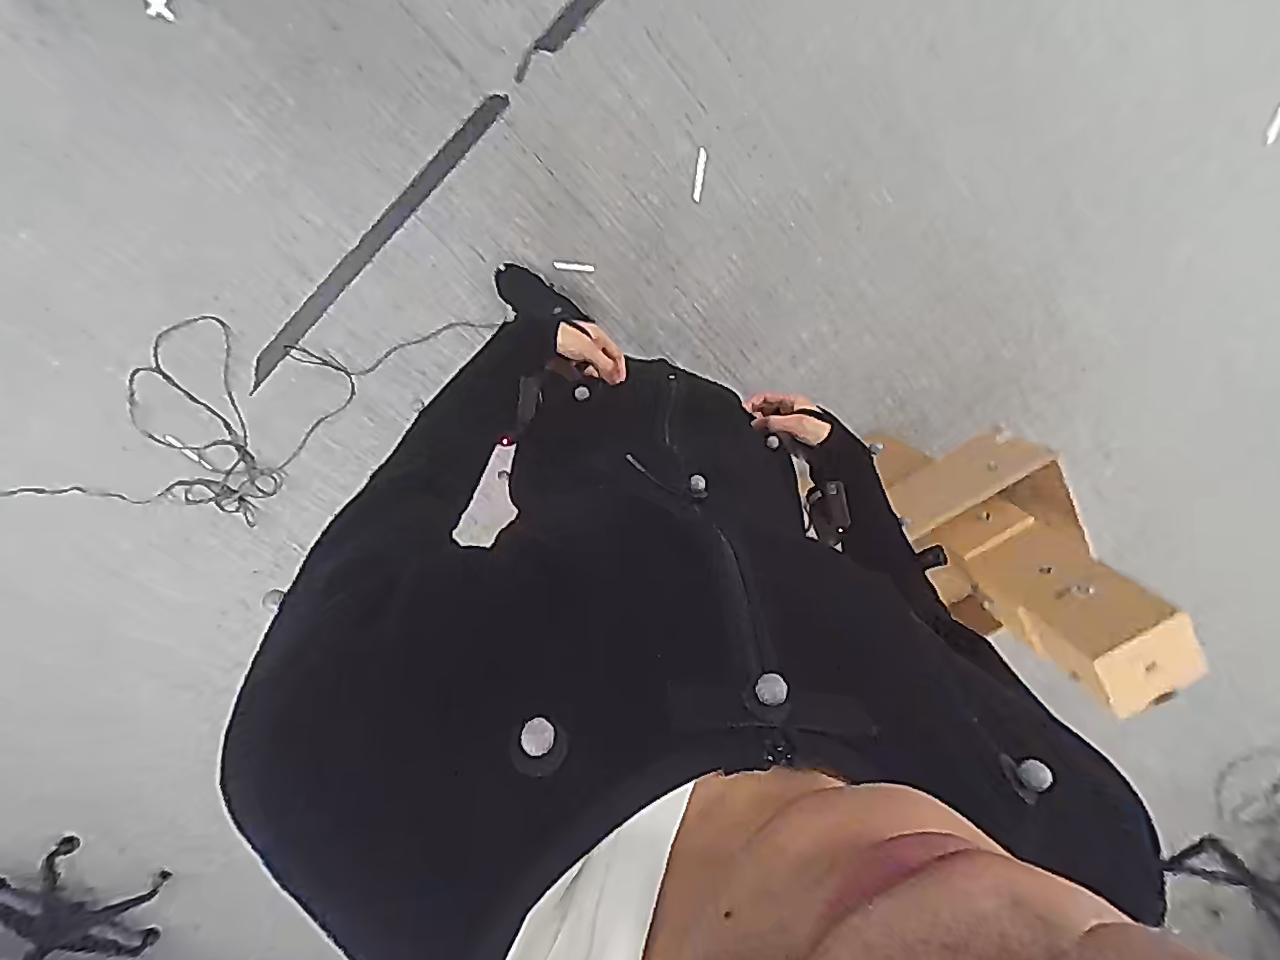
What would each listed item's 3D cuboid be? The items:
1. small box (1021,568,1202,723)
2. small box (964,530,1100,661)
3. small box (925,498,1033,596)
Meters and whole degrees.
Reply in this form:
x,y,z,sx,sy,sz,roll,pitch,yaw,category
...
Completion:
x,y,z,sx,sy,sz,roll,pitch,yaw,category
0.854,0.297,0.992,0.168,0.176,0.179,-35,112,9,small box
0.836,0.237,1.143,0.179,0.176,0.168,-33,112,9,small box
0.821,0.165,1.291,0.168,0.176,0.179,-34,112,10,small box
